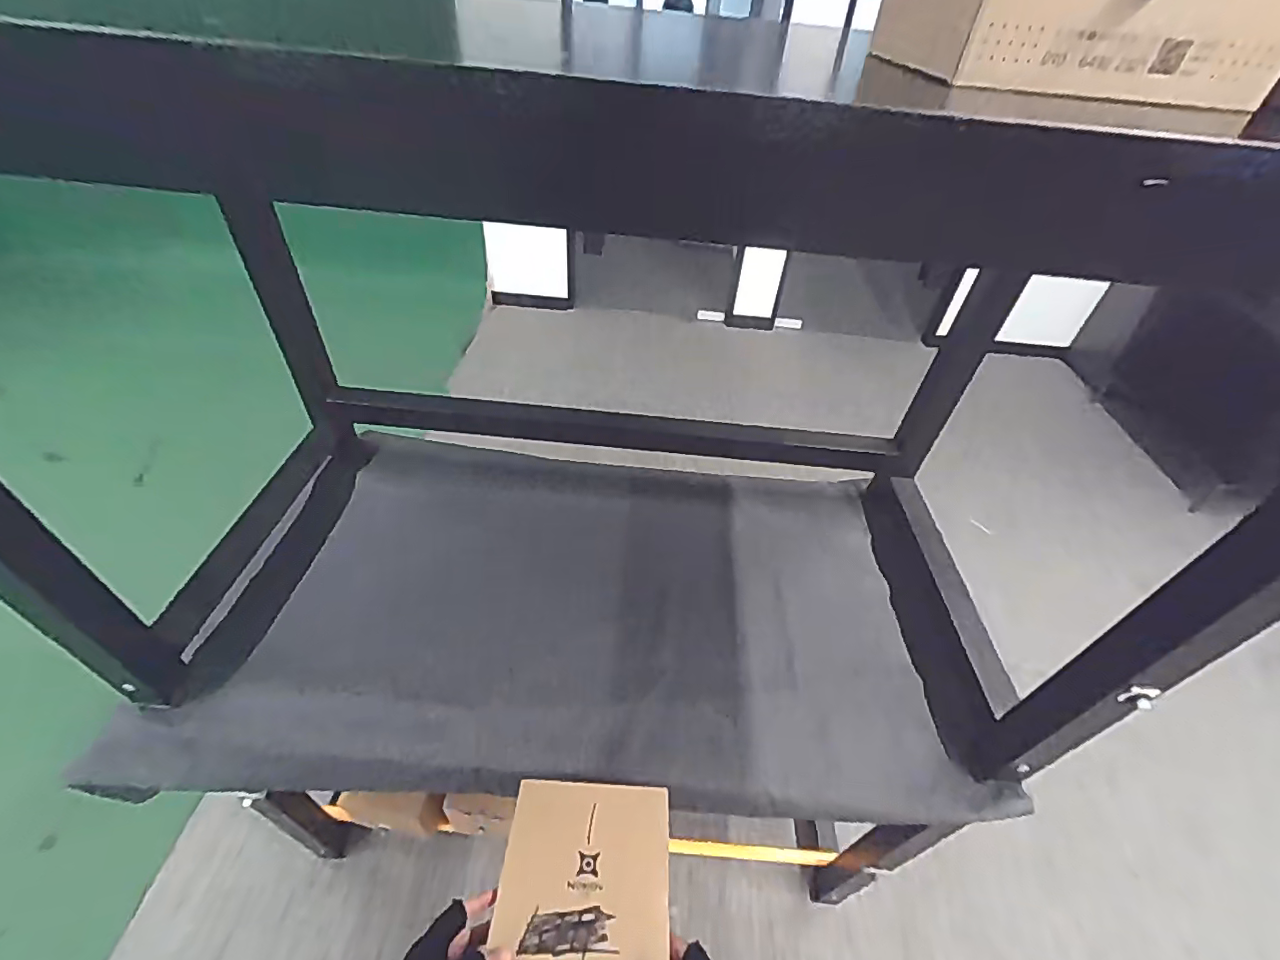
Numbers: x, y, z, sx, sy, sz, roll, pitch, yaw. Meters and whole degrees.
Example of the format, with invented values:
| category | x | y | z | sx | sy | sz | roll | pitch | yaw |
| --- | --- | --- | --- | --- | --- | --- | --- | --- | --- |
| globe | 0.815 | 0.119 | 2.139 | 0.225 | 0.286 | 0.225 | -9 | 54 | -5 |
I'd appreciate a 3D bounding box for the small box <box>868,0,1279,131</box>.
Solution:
| category | x | y | z | sx | sy | sz | roll | pitch | yaw |
| --- | --- | --- | --- | --- | --- | --- | --- | --- | --- |
| small box | 0.254 | -0.320 | 0.309 | 0.168 | 0.176 | 0.179 | 5 | 43 | -1 |
